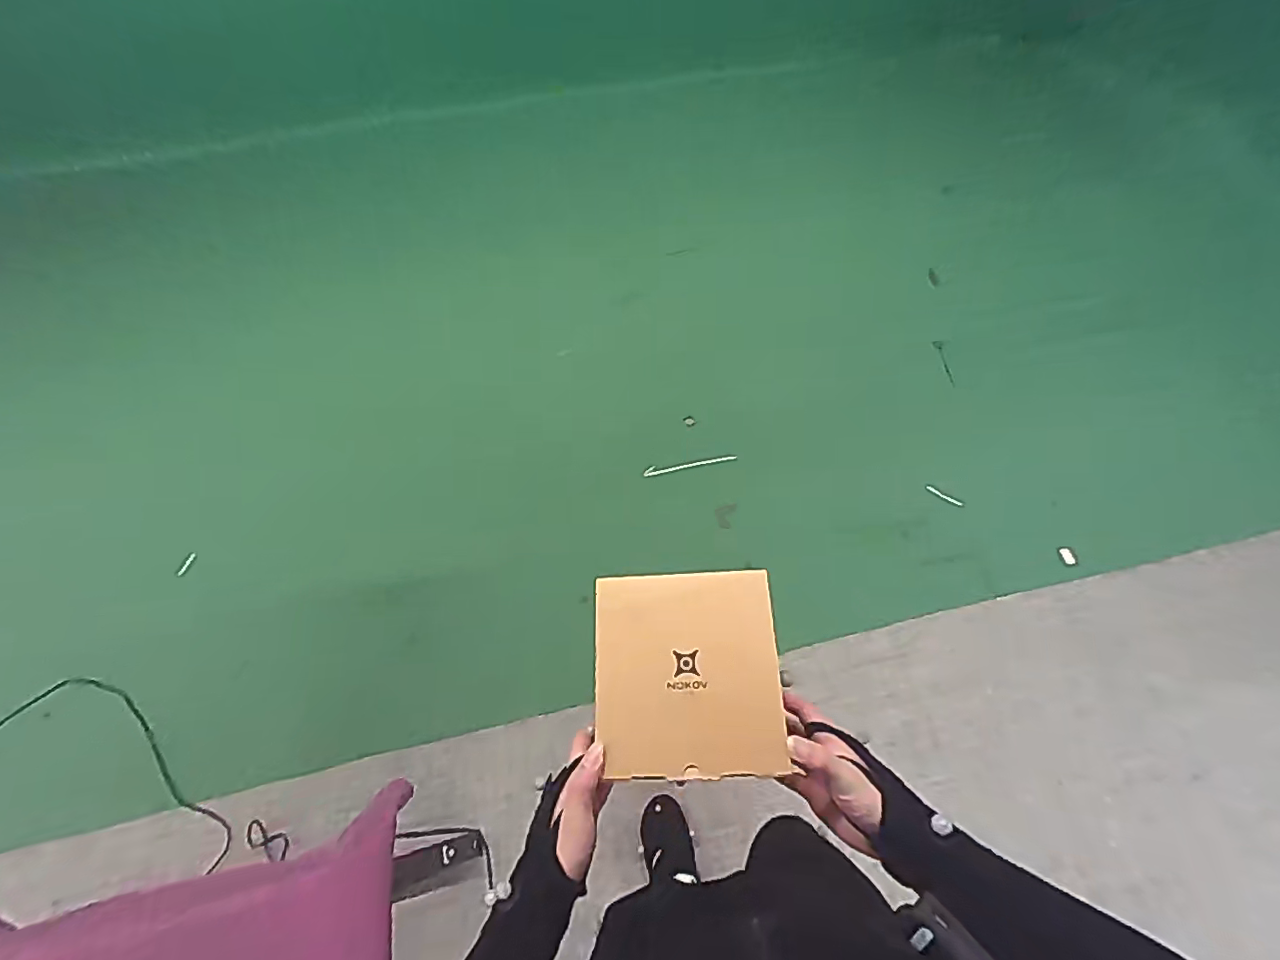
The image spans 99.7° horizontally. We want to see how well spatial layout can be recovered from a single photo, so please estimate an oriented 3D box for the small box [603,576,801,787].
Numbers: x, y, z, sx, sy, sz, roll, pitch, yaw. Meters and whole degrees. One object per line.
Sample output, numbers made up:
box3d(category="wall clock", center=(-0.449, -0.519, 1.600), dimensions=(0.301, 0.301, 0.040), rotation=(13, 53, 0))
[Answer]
box3d(category="small box", center=(0.054, 0.206, 0.550), dimensions=(0.168, 0.176, 0.179), rotation=(-3, 66, 4))
